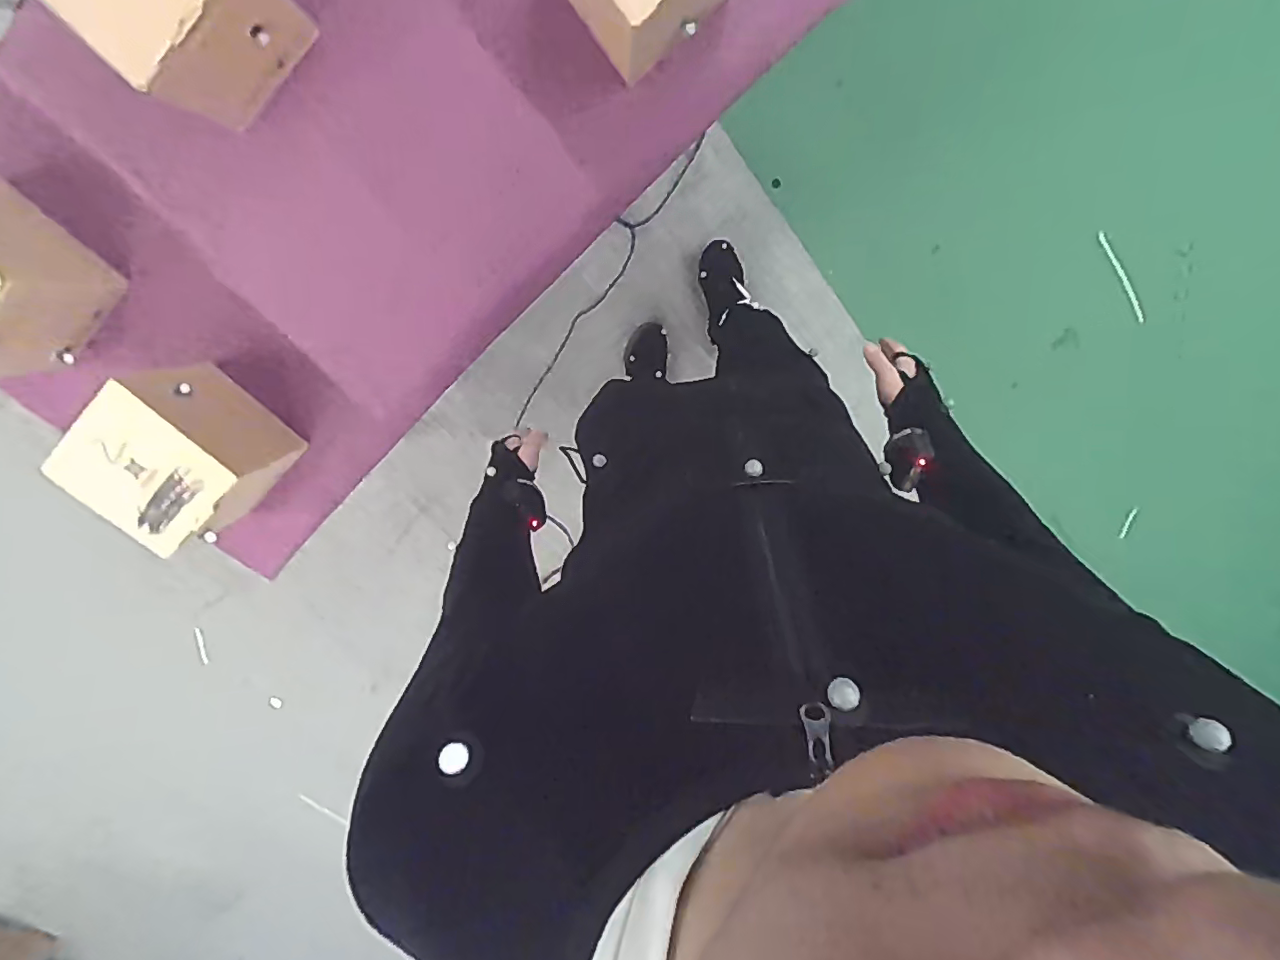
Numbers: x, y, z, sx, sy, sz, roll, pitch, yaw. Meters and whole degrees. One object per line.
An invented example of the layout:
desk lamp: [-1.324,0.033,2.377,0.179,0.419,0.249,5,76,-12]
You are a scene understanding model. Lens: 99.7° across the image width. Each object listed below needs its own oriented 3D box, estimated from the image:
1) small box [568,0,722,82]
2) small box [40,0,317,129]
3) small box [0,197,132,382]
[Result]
small box: [-0.004,-0.591,0.587,0.168,0.176,0.179,-38,106,11]
small box: [-0.505,-0.524,0.591,0.168,0.176,0.179,-42,106,11]
small box: [-0.810,-0.241,0.672,0.168,0.176,0.179,-44,105,11]
